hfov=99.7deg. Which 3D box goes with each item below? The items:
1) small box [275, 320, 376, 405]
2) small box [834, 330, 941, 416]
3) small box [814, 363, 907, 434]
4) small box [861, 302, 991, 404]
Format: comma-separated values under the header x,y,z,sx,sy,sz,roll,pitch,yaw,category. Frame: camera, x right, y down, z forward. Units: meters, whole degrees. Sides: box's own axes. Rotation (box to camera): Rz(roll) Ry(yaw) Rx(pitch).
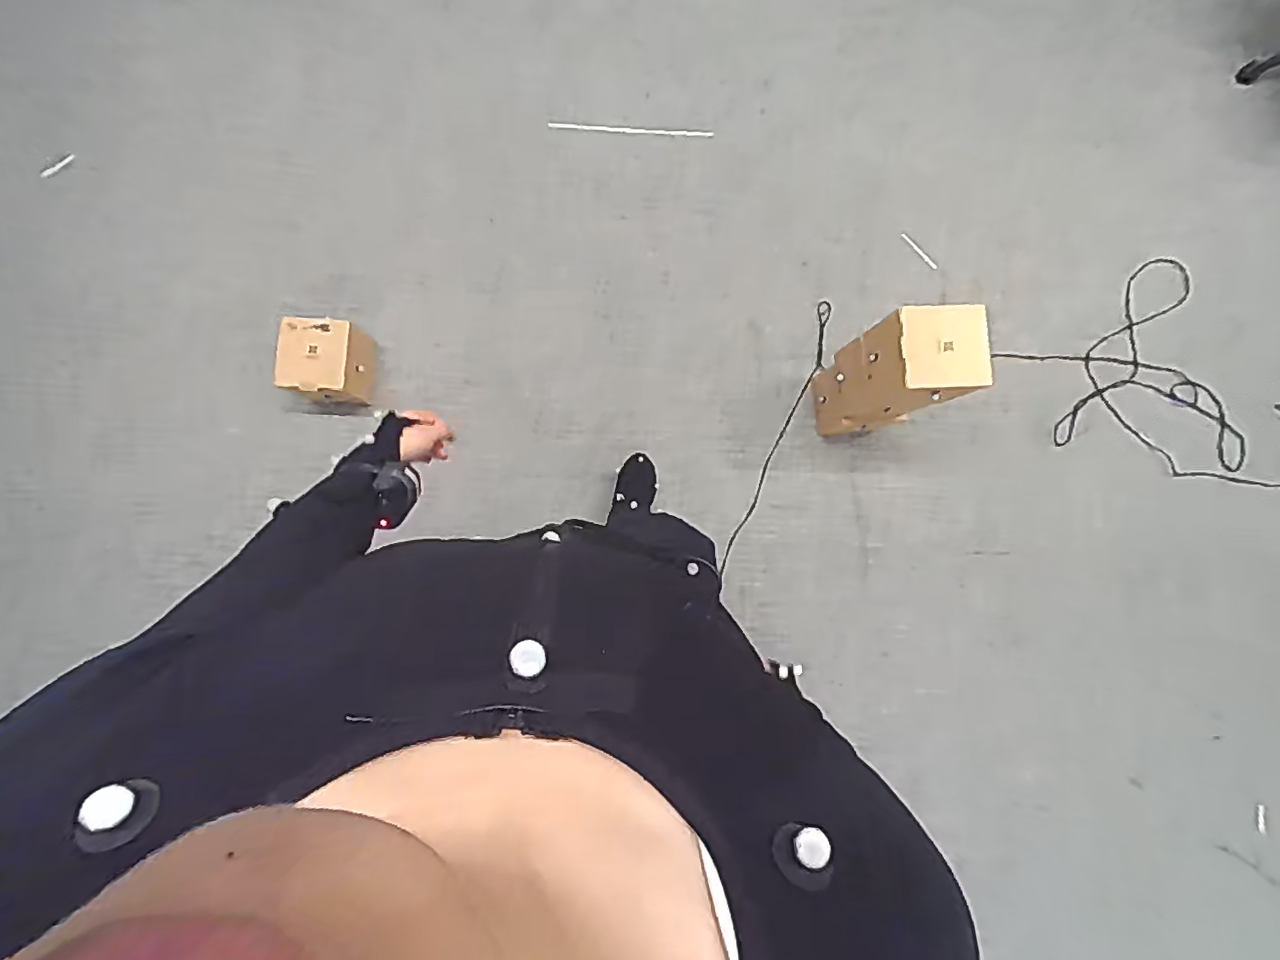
x,y,z,sx,sy,sz,roll,pitch,yaw,category
-0.800,-0.295,1.392,0.168,0.176,0.179,3,86,-2,small box
0.583,-0.250,1.288,0.179,0.176,0.168,-2,85,-2,small box
0.579,-0.220,1.449,0.179,0.176,0.168,-6,86,-4,small box
0.586,-0.257,1.125,0.179,0.176,0.168,-3,86,-2,small box
